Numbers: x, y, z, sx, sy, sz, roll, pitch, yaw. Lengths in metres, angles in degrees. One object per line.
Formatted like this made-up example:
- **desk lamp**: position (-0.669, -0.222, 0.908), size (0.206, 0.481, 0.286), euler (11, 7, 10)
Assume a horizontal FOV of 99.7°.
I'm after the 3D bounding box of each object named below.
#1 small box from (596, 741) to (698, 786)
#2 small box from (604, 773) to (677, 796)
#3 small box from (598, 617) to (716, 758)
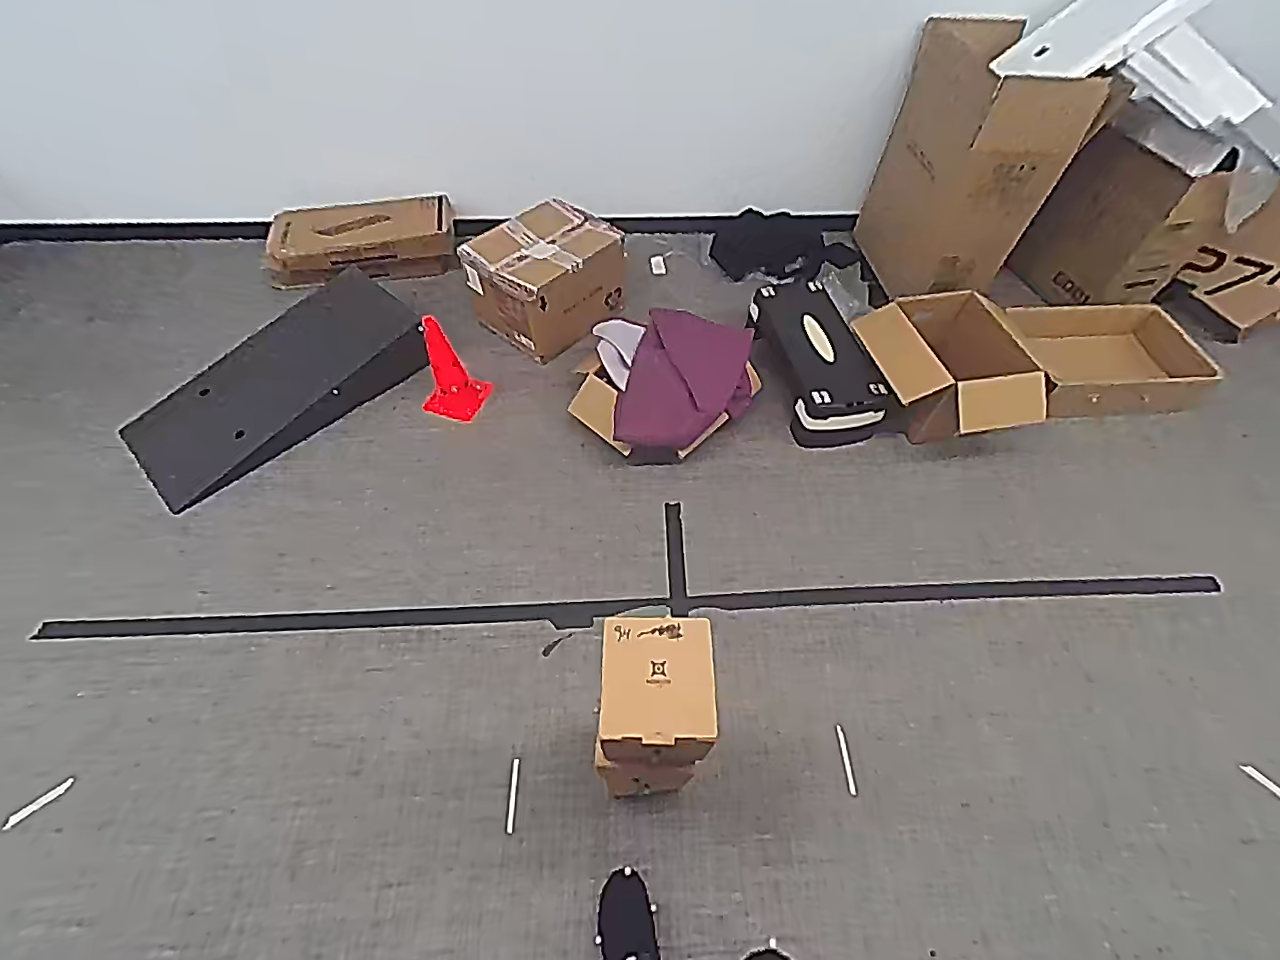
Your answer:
- **small box**: position (0.016, 0.435, 0.969), size (0.168, 0.176, 0.179), euler (3, 56, 2)
- **small box**: position (0.007, 0.618, 1.240), size (0.179, 0.176, 0.168), euler (-4, 55, -4)
- **small box**: position (0.027, 0.328, 0.844), size (0.168, 0.176, 0.179), euler (1, 55, 0)
